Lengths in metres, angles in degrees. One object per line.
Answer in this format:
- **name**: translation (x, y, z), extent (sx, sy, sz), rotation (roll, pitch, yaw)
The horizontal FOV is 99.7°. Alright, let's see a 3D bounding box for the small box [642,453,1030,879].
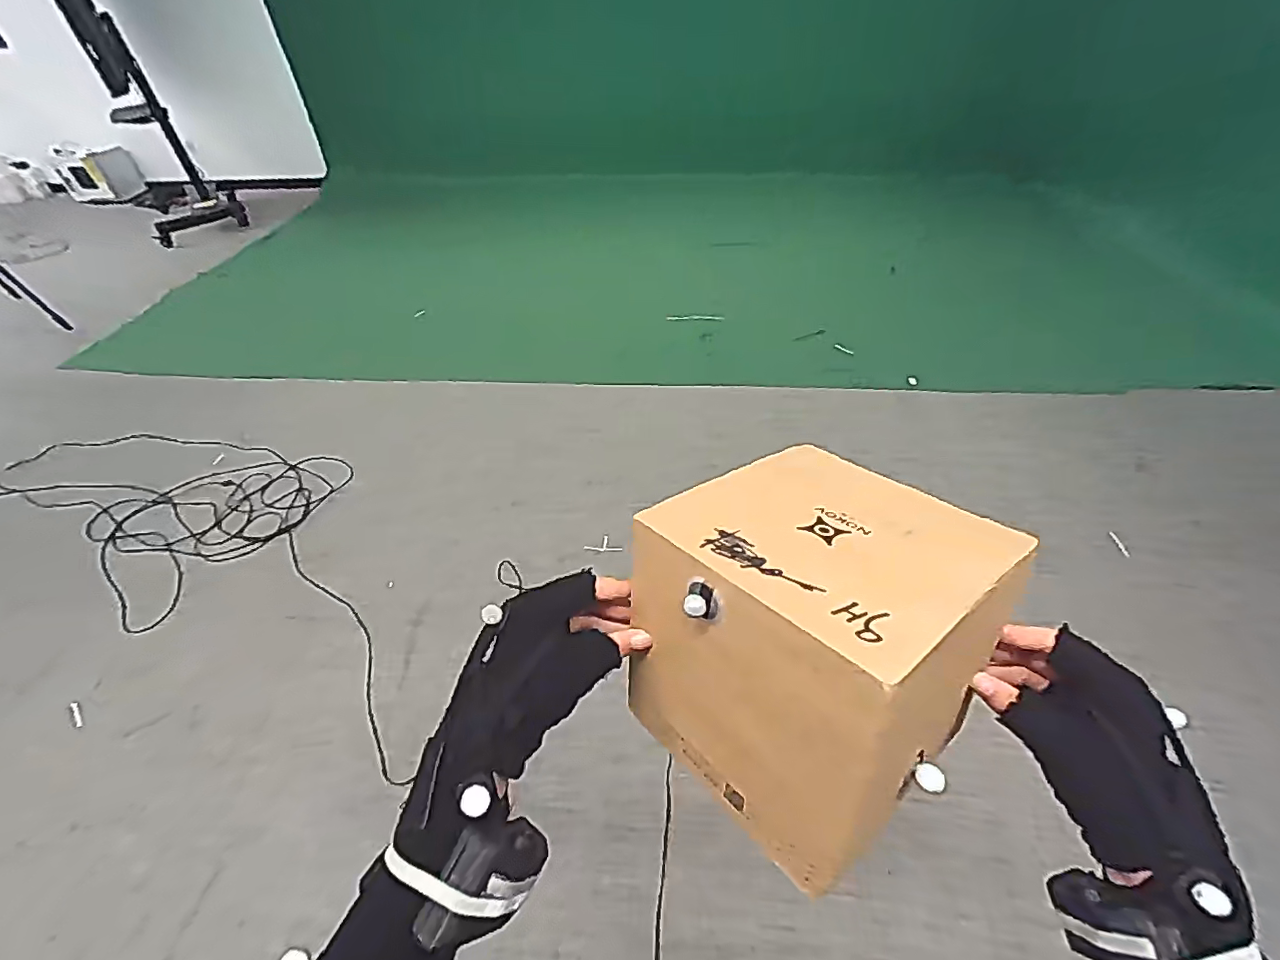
- **small box**: translation (0.114, 0.103, 0.364), extent (0.179, 0.176, 0.168), rotation (-19, 34, -35)
